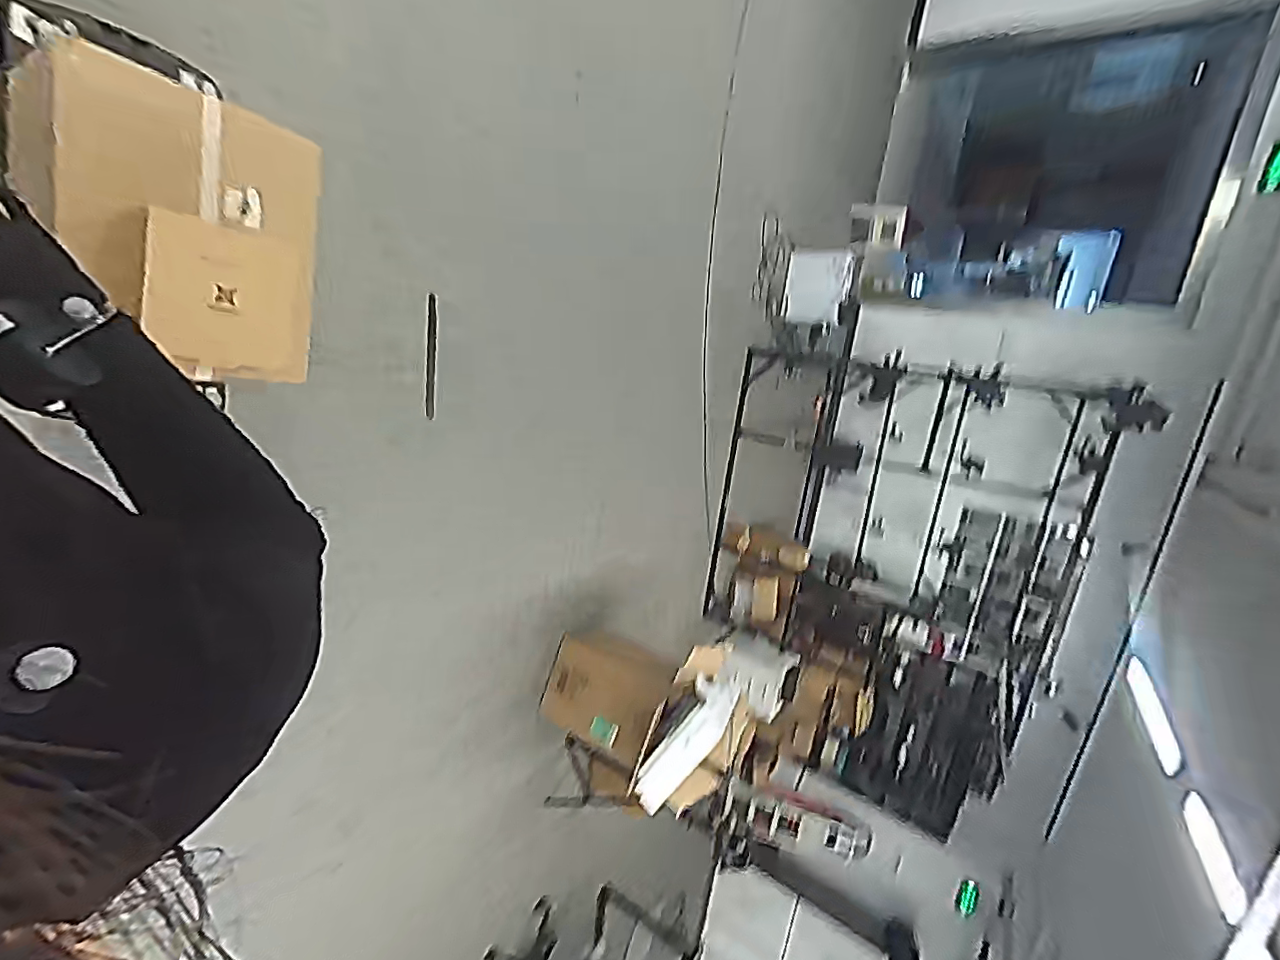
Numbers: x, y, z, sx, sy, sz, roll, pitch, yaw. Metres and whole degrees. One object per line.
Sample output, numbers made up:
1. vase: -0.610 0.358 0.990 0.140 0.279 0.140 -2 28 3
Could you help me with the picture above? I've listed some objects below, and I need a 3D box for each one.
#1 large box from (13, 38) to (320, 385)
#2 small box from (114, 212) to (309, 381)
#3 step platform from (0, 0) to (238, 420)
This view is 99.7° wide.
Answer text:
1. large box: -0.768 -0.381 0.889 0.320 0.320 0.408 -5 107 -57
2. small box: -0.595 -0.246 0.751 0.168 0.176 0.179 1 102 -56
3. step platform: -0.966 -0.454 1.003 0.286 0.204 0.684 -1 103 -57
